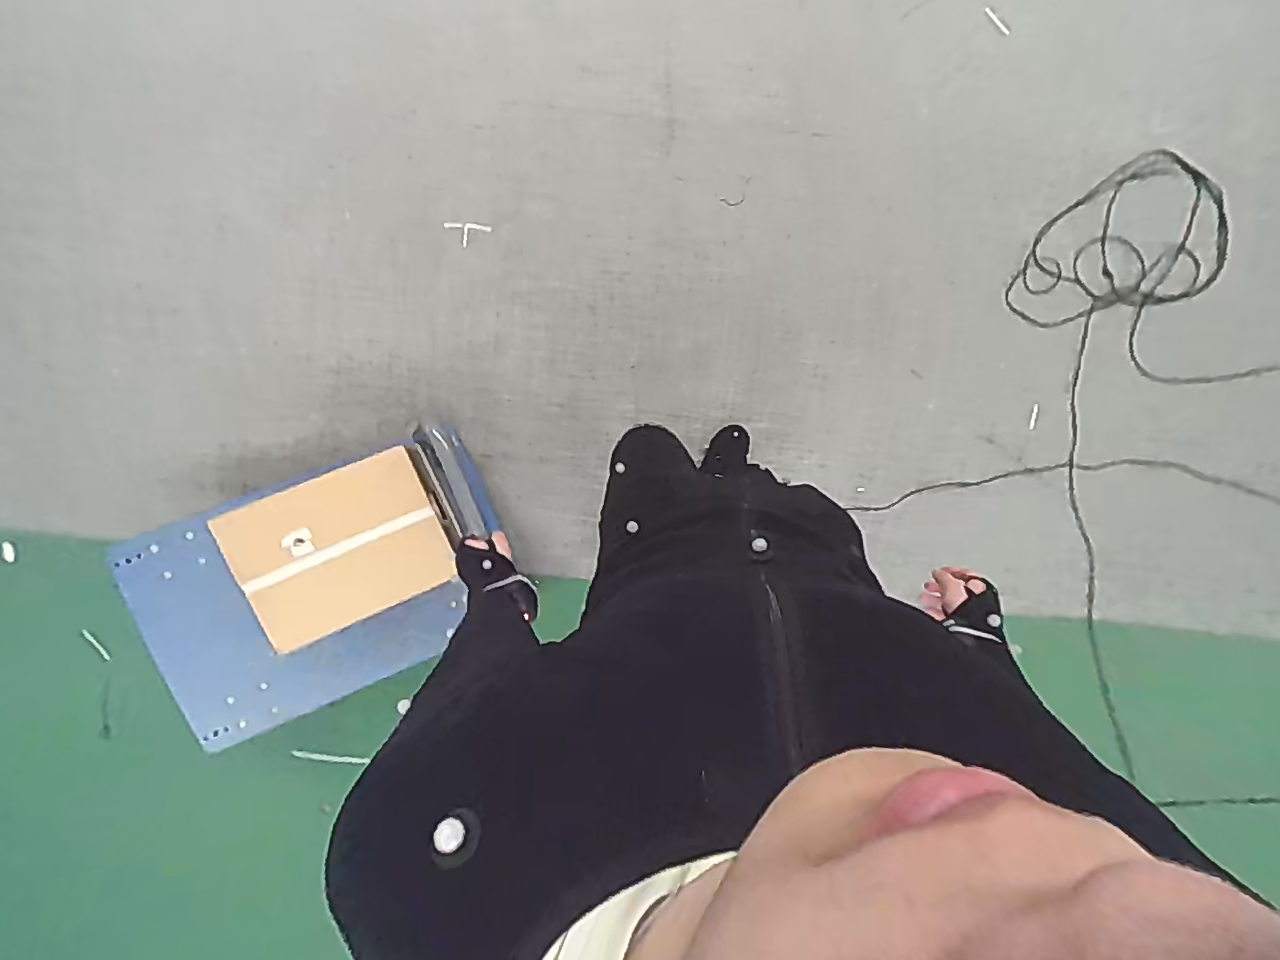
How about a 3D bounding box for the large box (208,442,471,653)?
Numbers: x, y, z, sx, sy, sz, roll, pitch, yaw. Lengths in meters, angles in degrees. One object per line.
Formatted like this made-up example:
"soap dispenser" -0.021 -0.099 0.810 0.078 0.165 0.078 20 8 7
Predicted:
"large box" -0.658 0.130 1.272 0.408 0.320 0.320 -25 97 -11
